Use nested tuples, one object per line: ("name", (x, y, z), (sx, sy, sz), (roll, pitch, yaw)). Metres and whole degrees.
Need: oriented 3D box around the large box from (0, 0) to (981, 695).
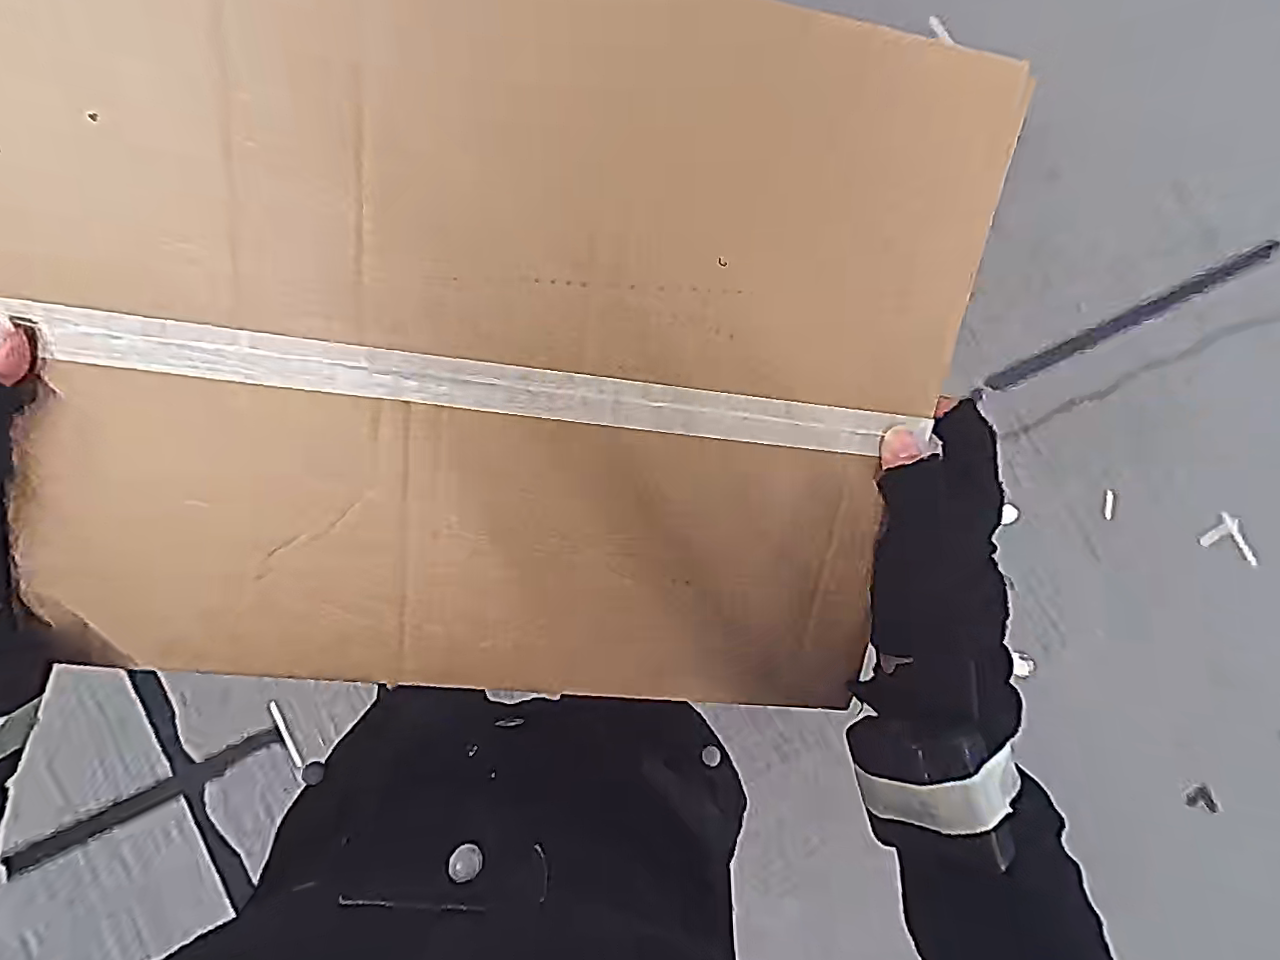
("large box", (-0.078, -0.077, 0.389), (0.408, 0.320, 0.320), (5, 106, -8))
